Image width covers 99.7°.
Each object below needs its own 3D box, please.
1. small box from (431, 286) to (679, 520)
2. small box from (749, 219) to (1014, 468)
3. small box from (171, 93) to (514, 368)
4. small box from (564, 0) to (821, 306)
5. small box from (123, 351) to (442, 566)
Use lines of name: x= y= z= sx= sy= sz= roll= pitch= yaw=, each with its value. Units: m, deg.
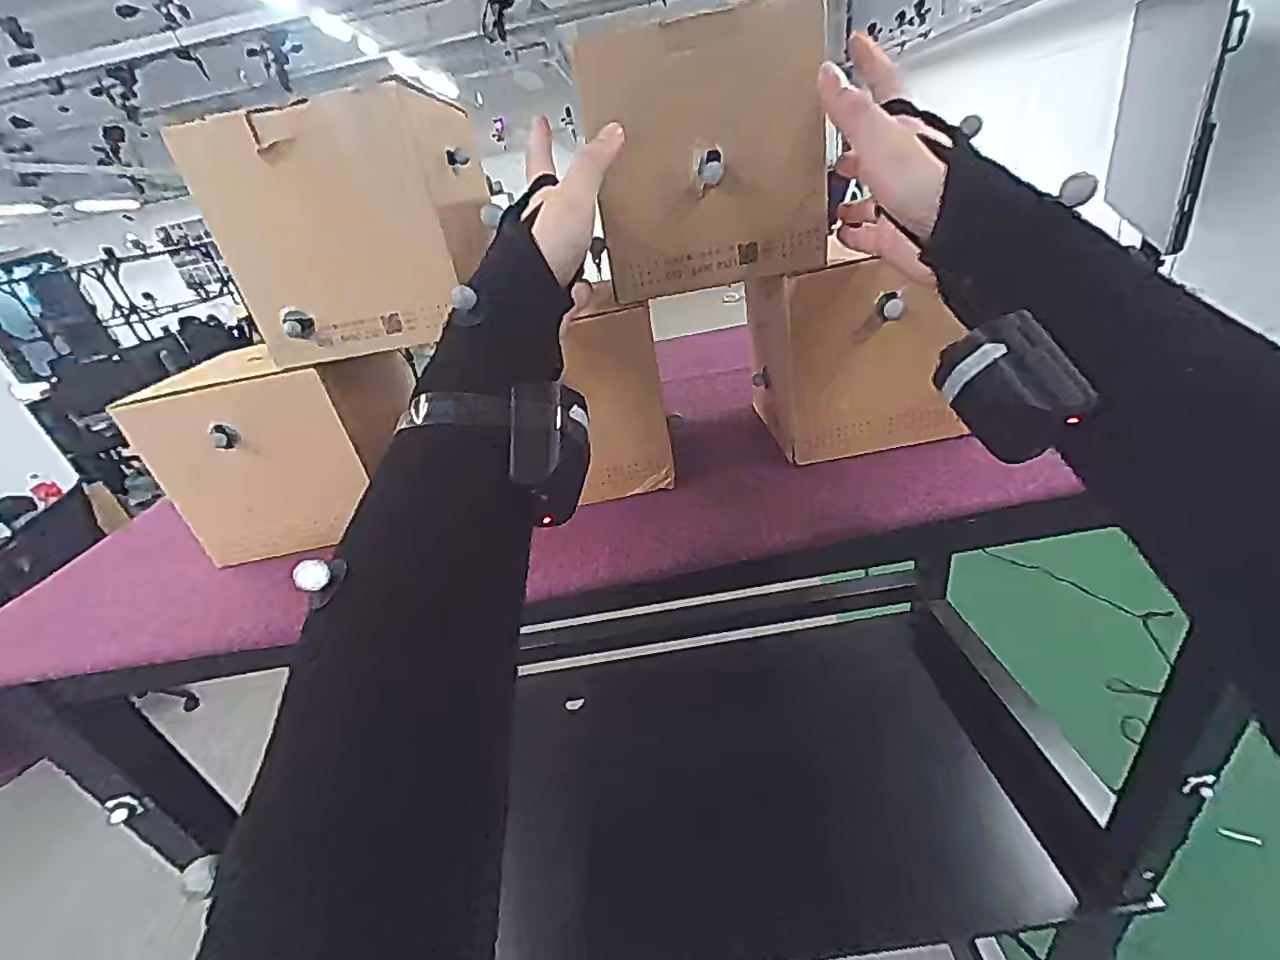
small box: x=-0.067 y=-0.078 z=0.524 sx=0.179 sy=0.176 sz=0.168 roll=-10 pitch=29 yaw=3
small box: x=0.207 y=-0.131 z=0.511 sx=0.179 sy=0.176 sz=0.168 roll=-12 pitch=28 yaw=4
small box: x=-0.221 y=-0.203 z=0.465 sx=0.168 sy=0.176 sz=0.179 roll=-9 pitch=28 yaw=4
small box: x=0.043 y=-0.251 z=0.449 sx=0.168 sy=0.176 sz=0.179 roll=-11 pitch=28 yaw=3
small box: x=-0.330 y=-0.034 z=0.546 sx=0.179 sy=0.176 sz=0.168 roll=-12 pitch=29 yaw=2
